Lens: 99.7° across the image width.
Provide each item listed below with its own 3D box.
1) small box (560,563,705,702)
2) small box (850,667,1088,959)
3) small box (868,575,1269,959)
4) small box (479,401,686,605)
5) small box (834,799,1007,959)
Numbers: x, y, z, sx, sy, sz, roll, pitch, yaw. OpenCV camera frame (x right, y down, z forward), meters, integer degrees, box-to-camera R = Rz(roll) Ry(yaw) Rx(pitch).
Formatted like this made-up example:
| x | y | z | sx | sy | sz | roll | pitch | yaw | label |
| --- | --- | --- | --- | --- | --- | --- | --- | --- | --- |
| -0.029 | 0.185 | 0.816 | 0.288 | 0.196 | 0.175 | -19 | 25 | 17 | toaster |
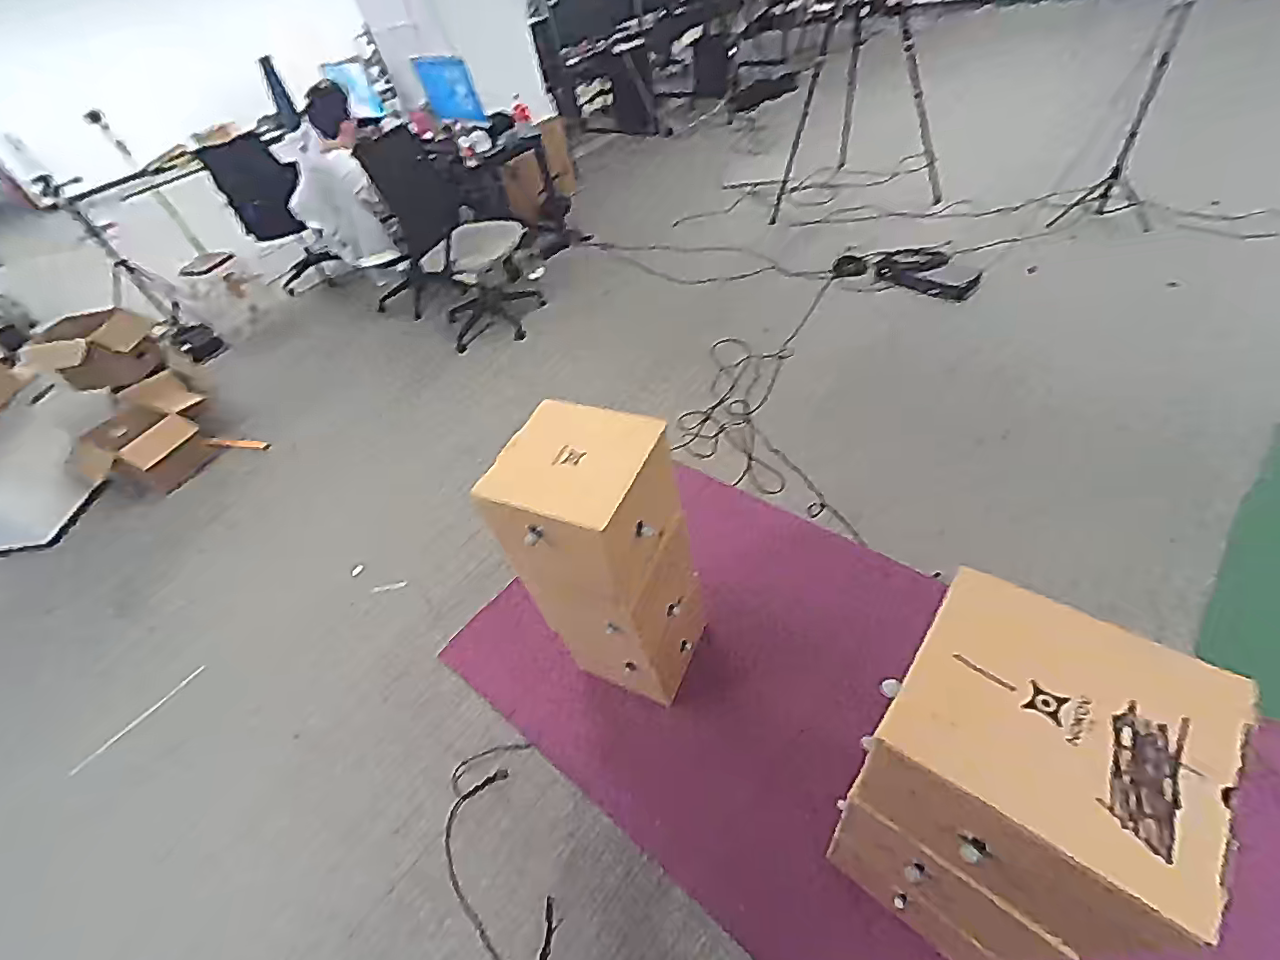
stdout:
| x | y | z | sx | sy | sz | roll | pitch | yaw | label |
| --- | --- | --- | --- | --- | --- | --- | --- | --- | --- |
| -0.001 | 0.244 | 0.903 | 0.179 | 0.176 | 0.168 | 15 | 52 | 25 | small box |
| 0.324 | 0.324 | 0.529 | 0.179 | 0.176 | 0.168 | 26 | 59 | 34 | small box |
| 0.298 | 0.211 | 0.411 | 0.179 | 0.176 | 0.168 | 25 | 58 | 33 | small box |
| -0.055 | 0.030 | 0.662 | 0.179 | 0.176 | 0.168 | 13 | 52 | 24 | small box |
| 0.351 | 0.436 | 0.645 | 0.179 | 0.176 | 0.168 | 29 | 60 | 34 | small box |
